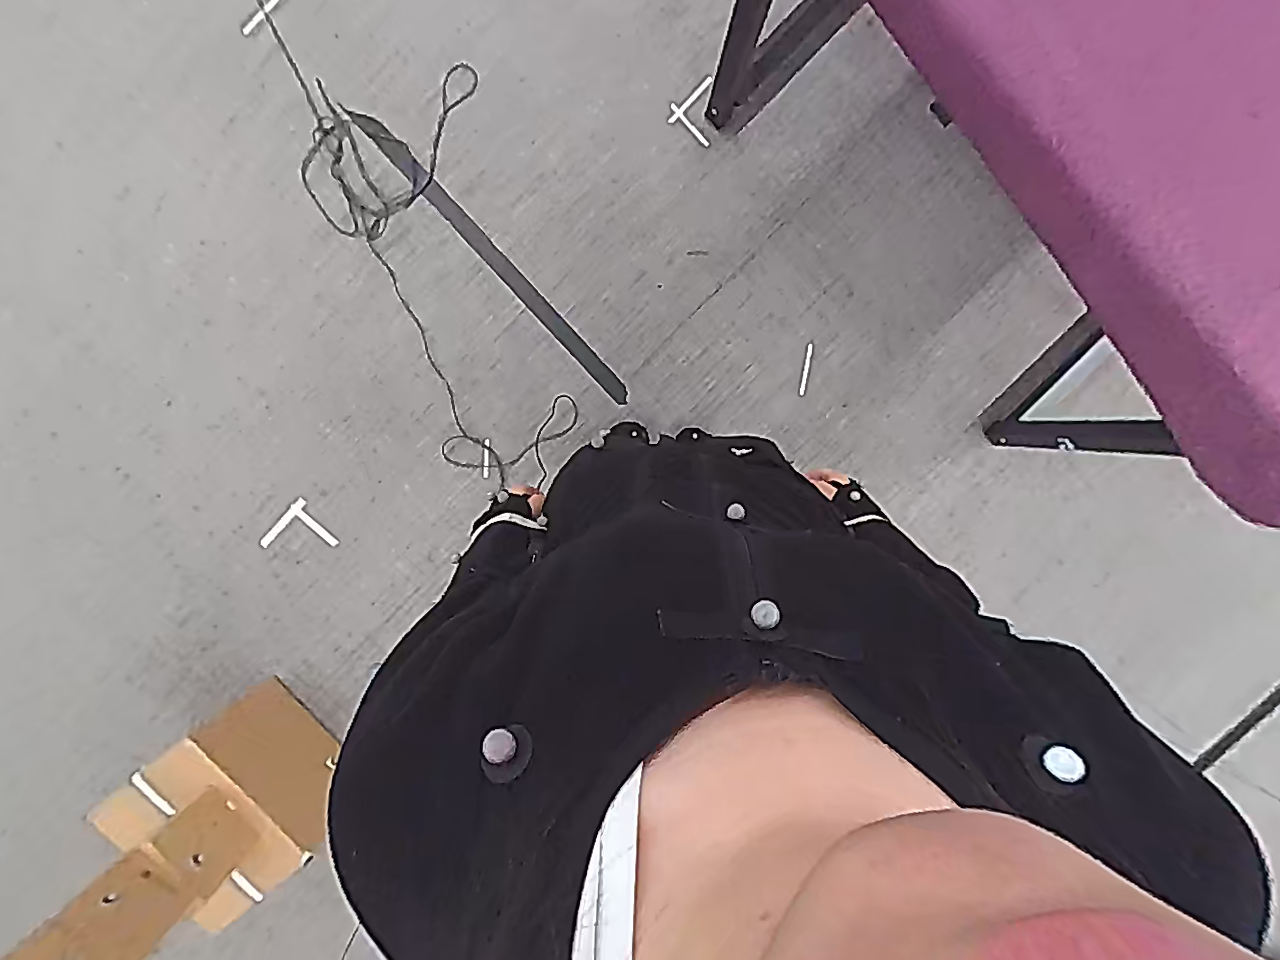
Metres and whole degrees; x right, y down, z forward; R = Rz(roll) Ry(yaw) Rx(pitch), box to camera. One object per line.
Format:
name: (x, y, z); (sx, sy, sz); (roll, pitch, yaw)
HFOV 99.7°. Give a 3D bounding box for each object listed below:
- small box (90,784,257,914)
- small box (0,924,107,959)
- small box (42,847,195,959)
small box: (-0.991, 0.811, 1.168); (0.168, 0.176, 0.179); (-36, 96, 2)
small box: (-0.991, 0.856, 0.846); (0.179, 0.176, 0.168); (45, 93, -5)
small box: (-0.993, 0.844, 1.009); (0.168, 0.176, 0.179); (38, 95, -5)
